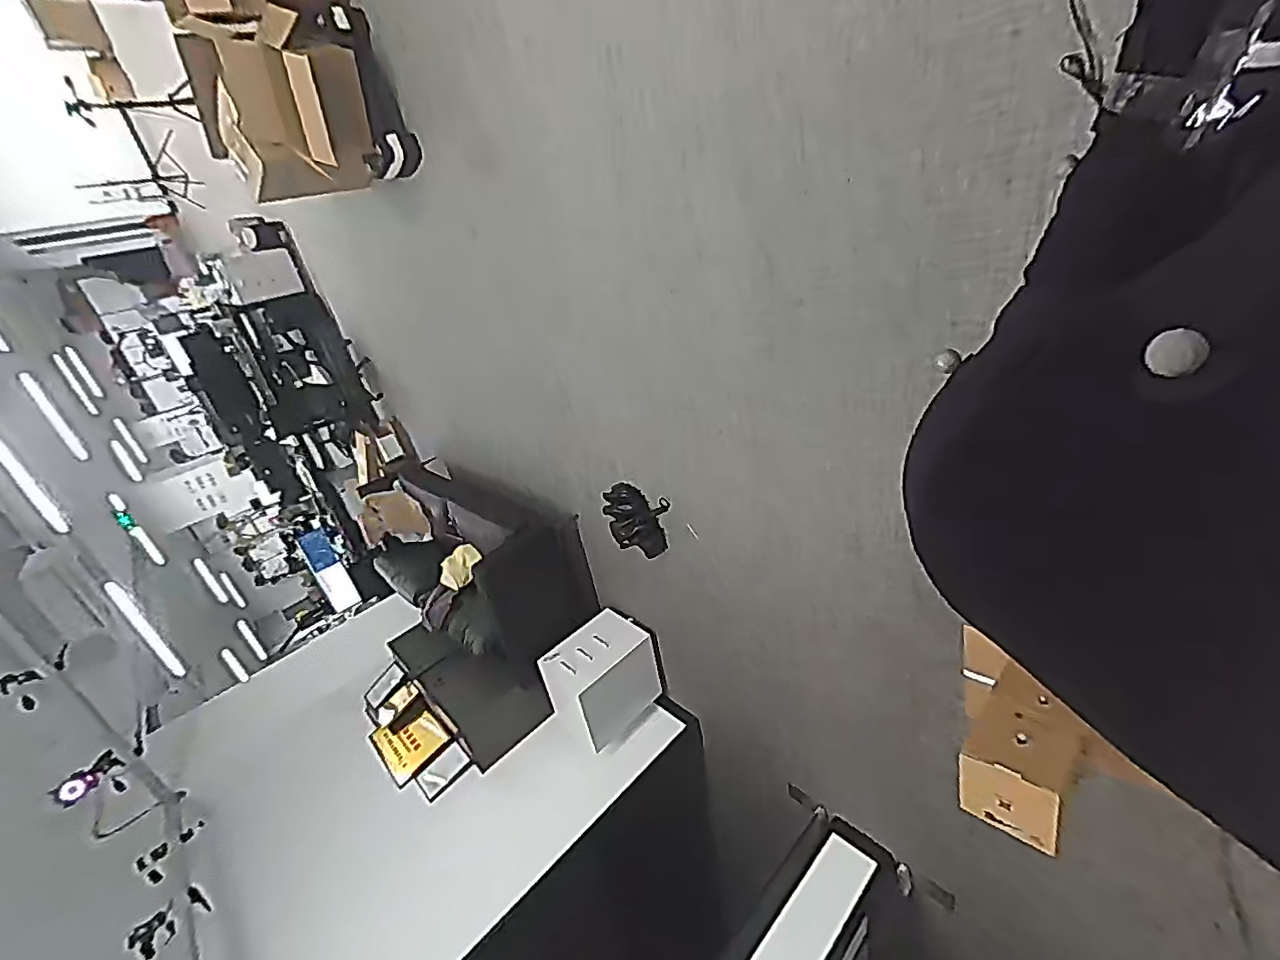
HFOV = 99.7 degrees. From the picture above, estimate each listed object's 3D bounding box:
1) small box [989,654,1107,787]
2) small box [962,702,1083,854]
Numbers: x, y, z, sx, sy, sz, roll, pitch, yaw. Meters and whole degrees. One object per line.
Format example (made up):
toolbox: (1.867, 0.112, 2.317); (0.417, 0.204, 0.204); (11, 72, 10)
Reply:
small box: (0.892, 0.515, 1.186); (0.179, 0.176, 0.168); (13, 125, 49)
small box: (0.777, 0.592, 1.100); (0.168, 0.176, 0.179); (12, 124, 47)
